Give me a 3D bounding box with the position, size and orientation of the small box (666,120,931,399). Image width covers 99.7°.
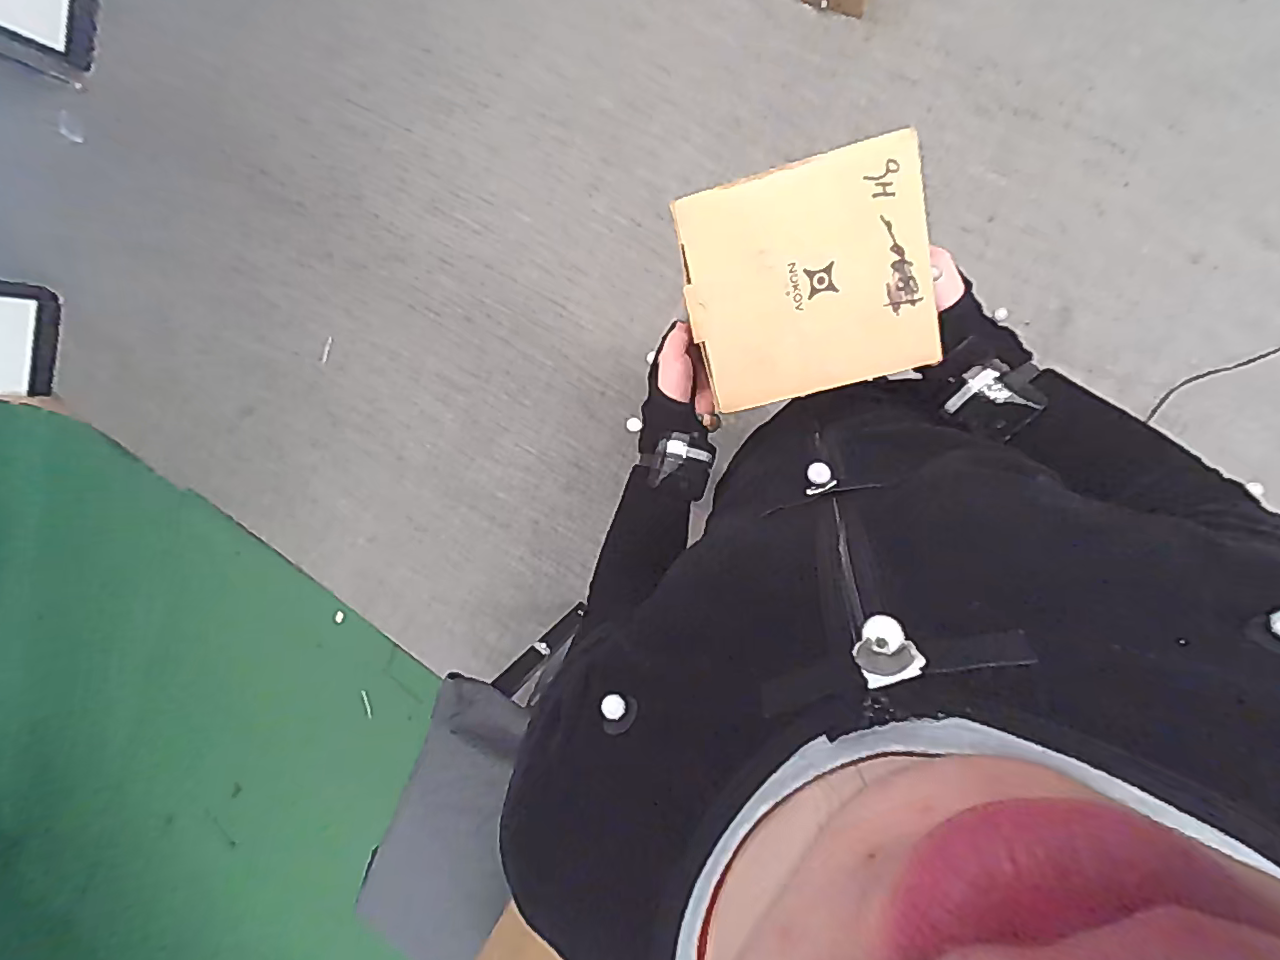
[{"bbox_3d":[0.131,-0.180,0.484,0.179,0.176,0.168,-12,106,10],"label":"small box"}]

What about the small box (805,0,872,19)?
[{"bbox_3d":[0.471,-1.201,1.213,0.168,0.176,0.179,28,108,14],"label":"small box"}]
